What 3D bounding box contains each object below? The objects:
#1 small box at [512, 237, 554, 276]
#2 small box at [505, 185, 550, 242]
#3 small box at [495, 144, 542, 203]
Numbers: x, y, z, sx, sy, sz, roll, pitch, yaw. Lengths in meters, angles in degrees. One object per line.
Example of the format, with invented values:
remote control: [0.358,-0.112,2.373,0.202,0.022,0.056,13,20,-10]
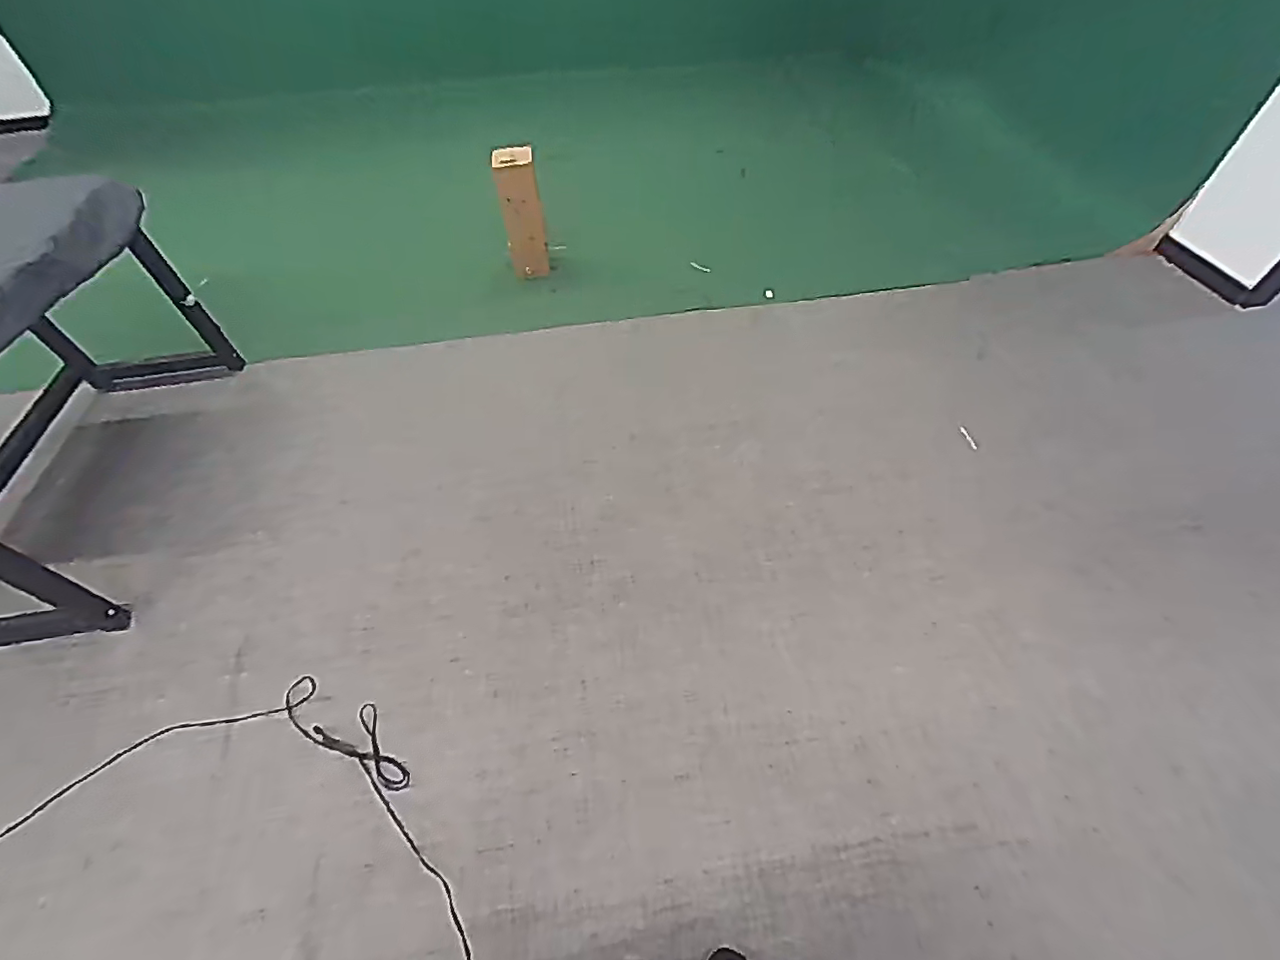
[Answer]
small box: [-0.501,-1.087,2.547,0.168,0.176,0.179,-8,54,-2]
small box: [-0.500,-1.192,2.421,0.168,0.176,0.179,-8,52,-2]
small box: [-0.510,-1.291,2.290,0.168,0.176,0.179,-7,52,-2]
